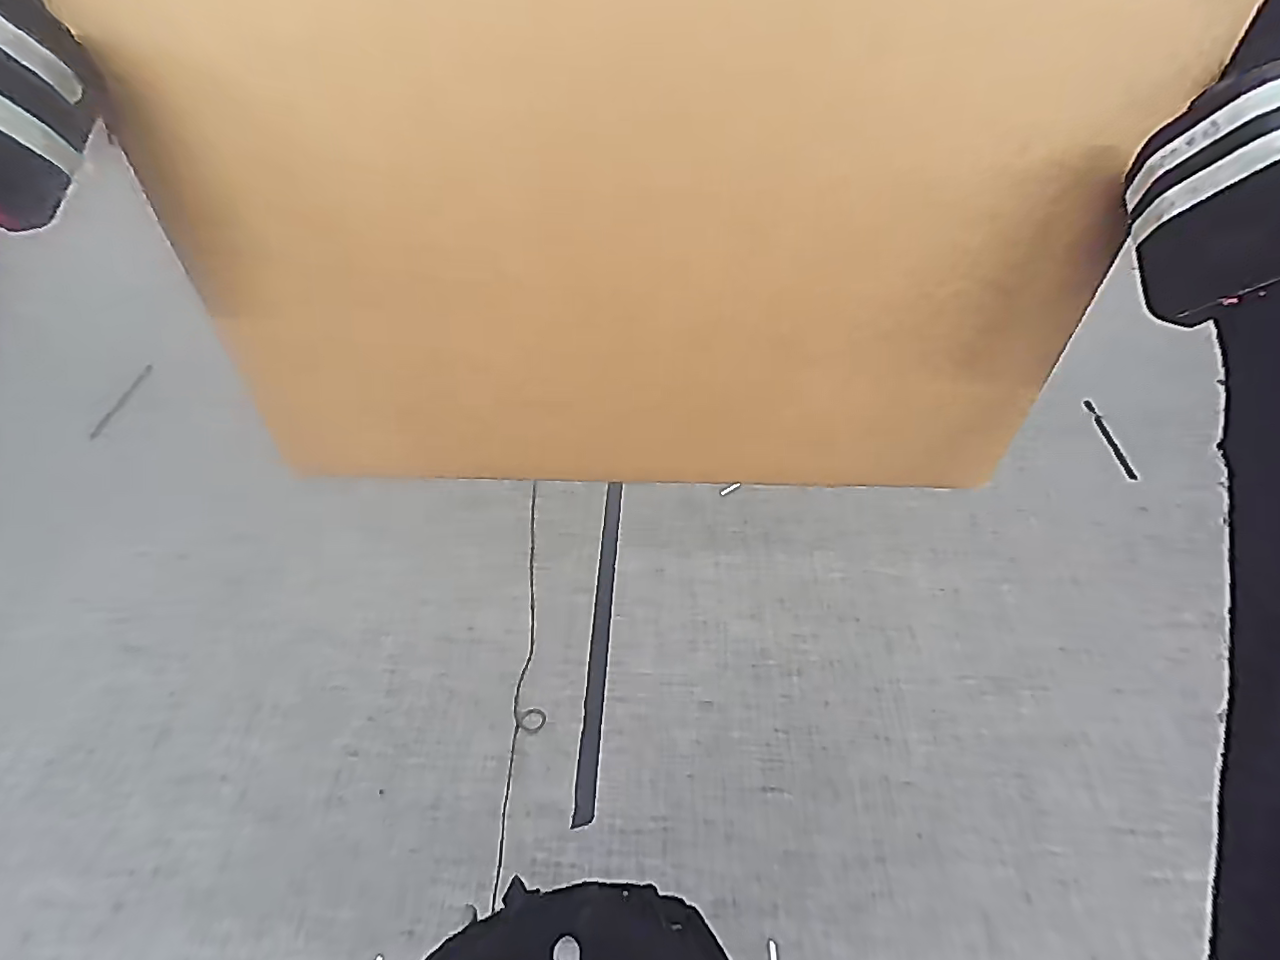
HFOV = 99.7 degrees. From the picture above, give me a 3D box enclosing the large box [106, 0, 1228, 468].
[{"bbox_3d":[0.007,-0.219,0.336,0.408,0.320,0.320,2,40,-1],"label":"large box"}]
